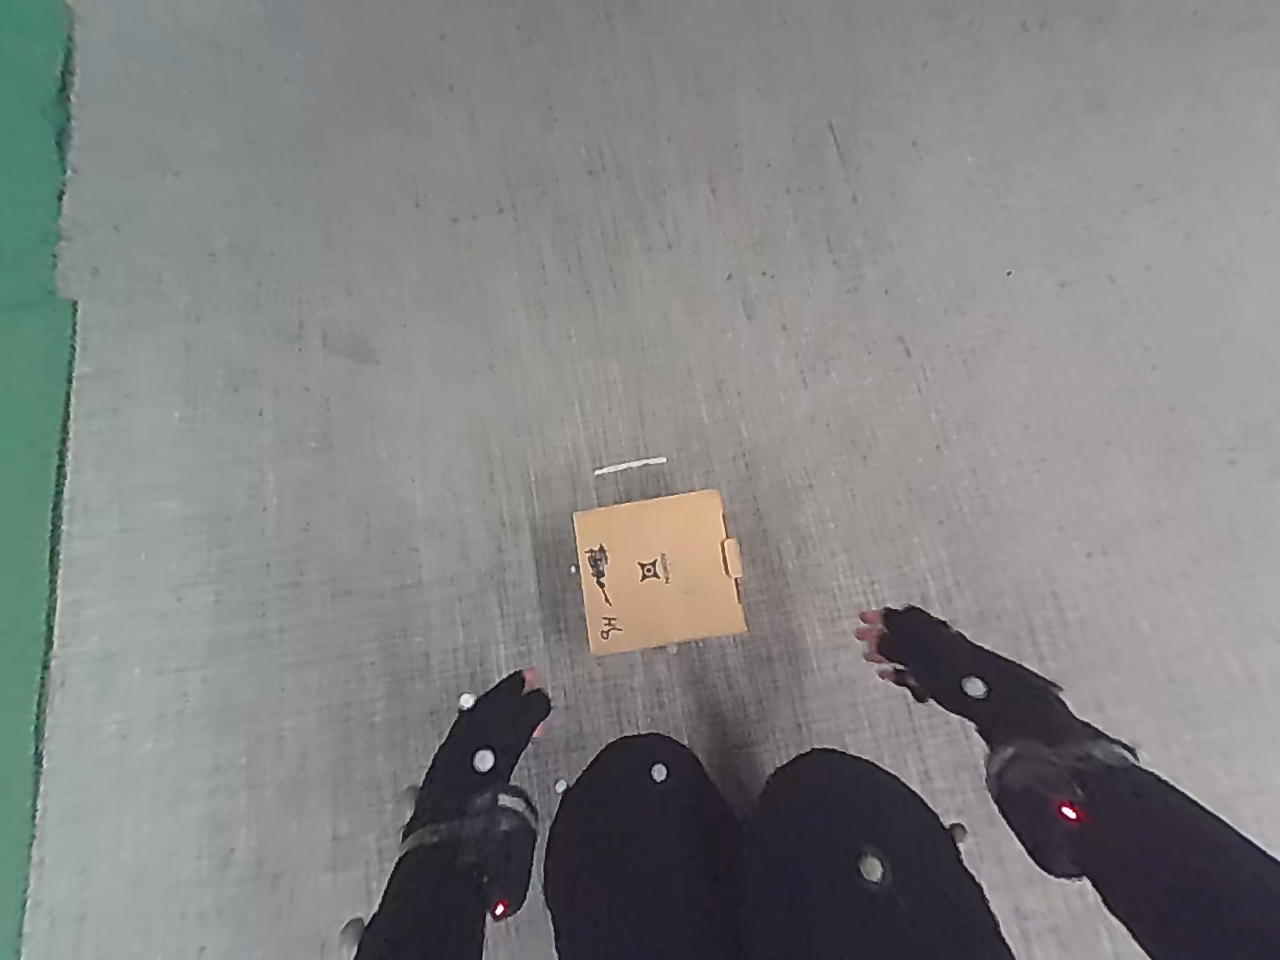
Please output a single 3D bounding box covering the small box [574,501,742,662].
[{"bbox_3d":[0.022,0.131,0.692,0.179,0.176,0.168,-9,75,2],"label":"small box"}]
